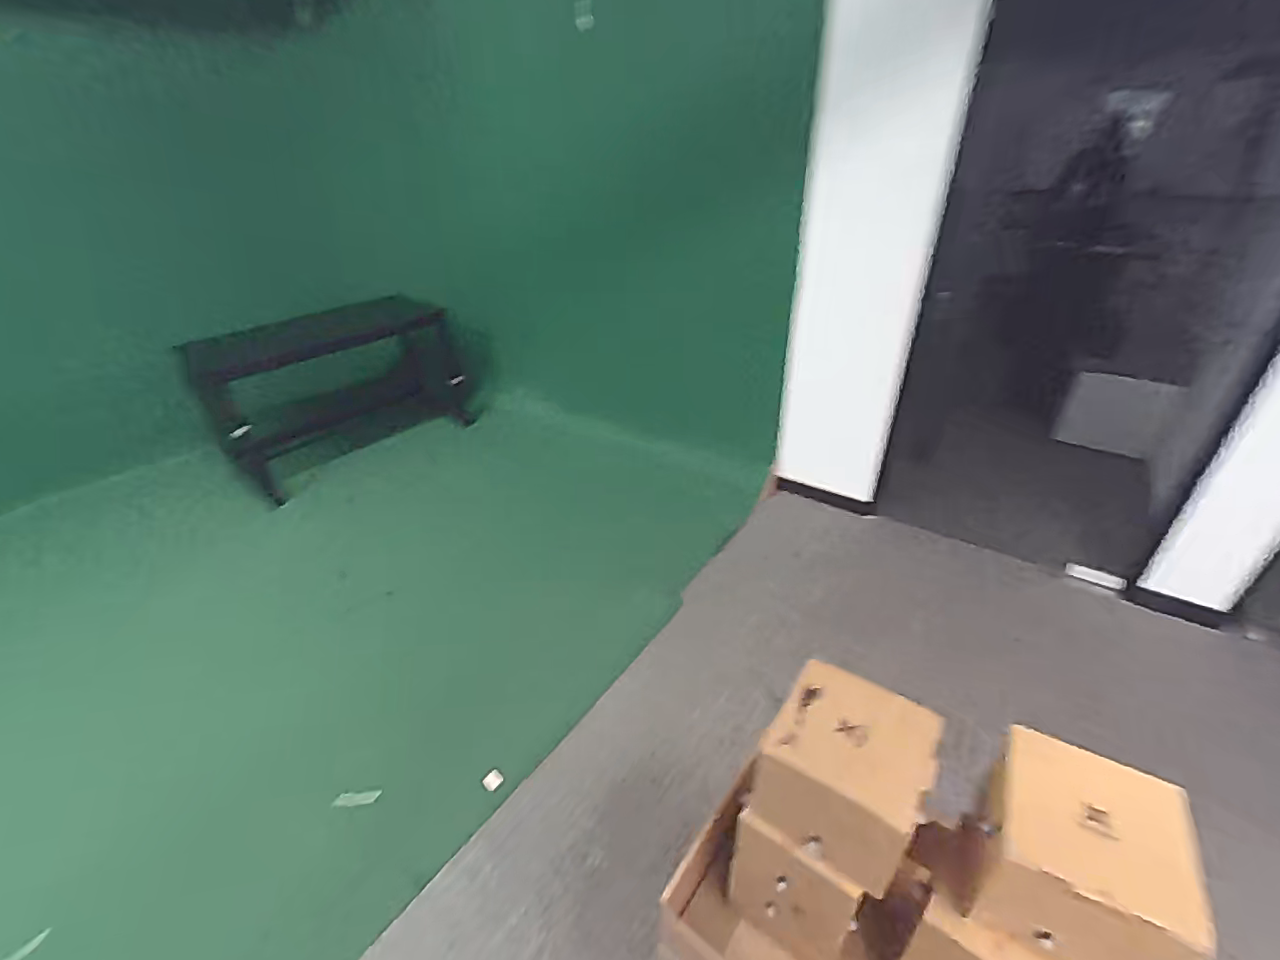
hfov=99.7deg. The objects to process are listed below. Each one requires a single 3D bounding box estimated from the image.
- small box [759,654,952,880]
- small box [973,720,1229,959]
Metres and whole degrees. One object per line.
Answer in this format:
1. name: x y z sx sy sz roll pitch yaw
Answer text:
1. small box: 0.272 0.373 0.704 0.179 0.176 0.168 21 39 31
2. small box: 0.497 0.423 0.613 0.168 0.176 0.179 16 37 29
